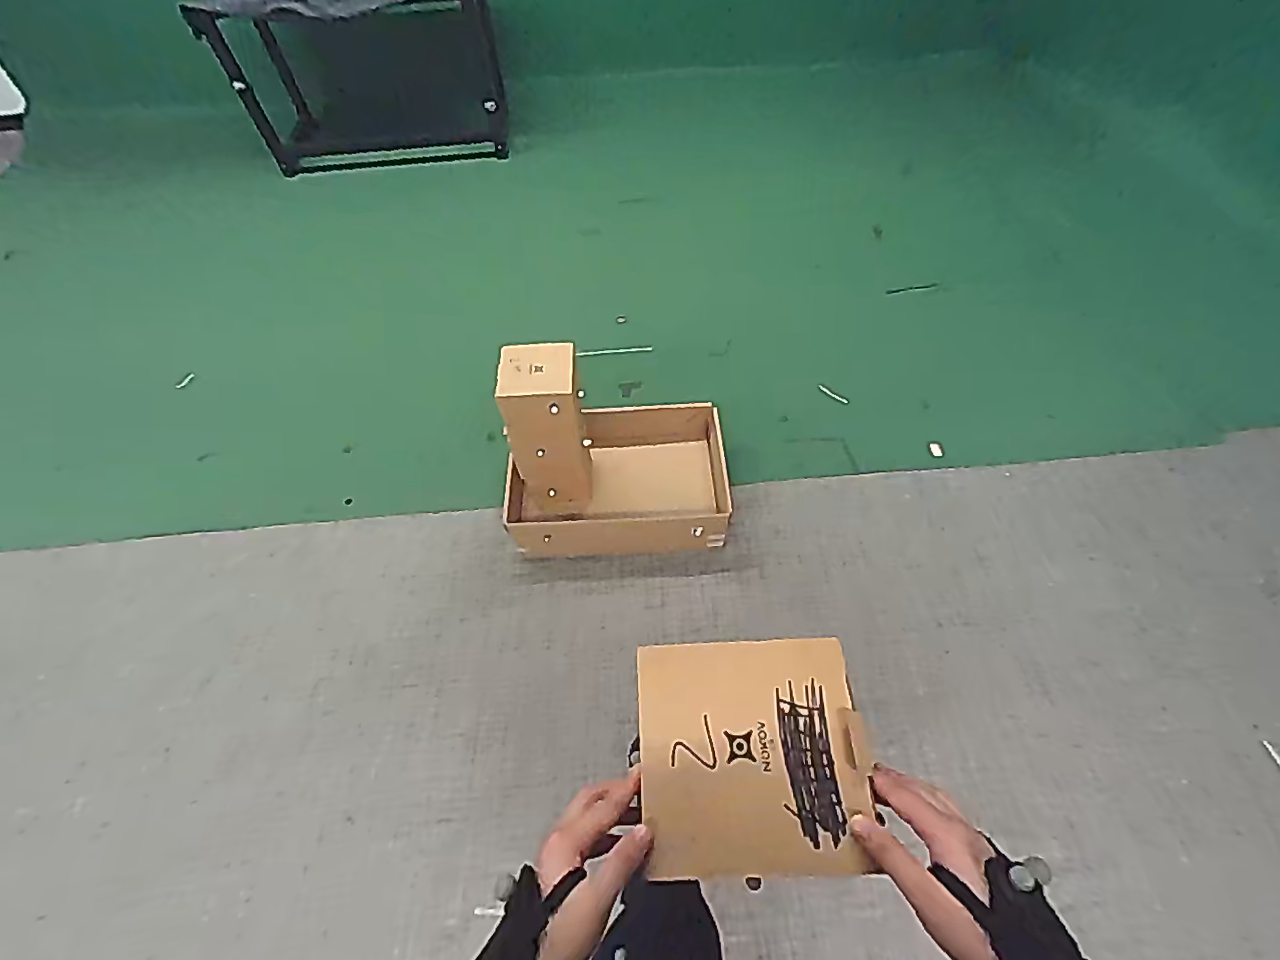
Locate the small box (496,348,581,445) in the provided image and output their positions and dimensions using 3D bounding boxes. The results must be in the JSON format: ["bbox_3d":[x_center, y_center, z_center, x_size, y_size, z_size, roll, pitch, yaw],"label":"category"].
[{"bbox_3d":[-0.236,-0.199,1.312,0.179,0.176,0.168,-3,56,0],"label":"small box"}]

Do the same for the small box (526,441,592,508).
[{"bbox_3d":[-0.232,-0.027,1.593,0.168,0.176,0.179,-4,57,-1],"label":"small box"}]

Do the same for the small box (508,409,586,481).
[{"bbox_3d":[-0.242,-0.109,1.451,0.179,0.176,0.168,-3,57,-1],"label":"small box"}]
